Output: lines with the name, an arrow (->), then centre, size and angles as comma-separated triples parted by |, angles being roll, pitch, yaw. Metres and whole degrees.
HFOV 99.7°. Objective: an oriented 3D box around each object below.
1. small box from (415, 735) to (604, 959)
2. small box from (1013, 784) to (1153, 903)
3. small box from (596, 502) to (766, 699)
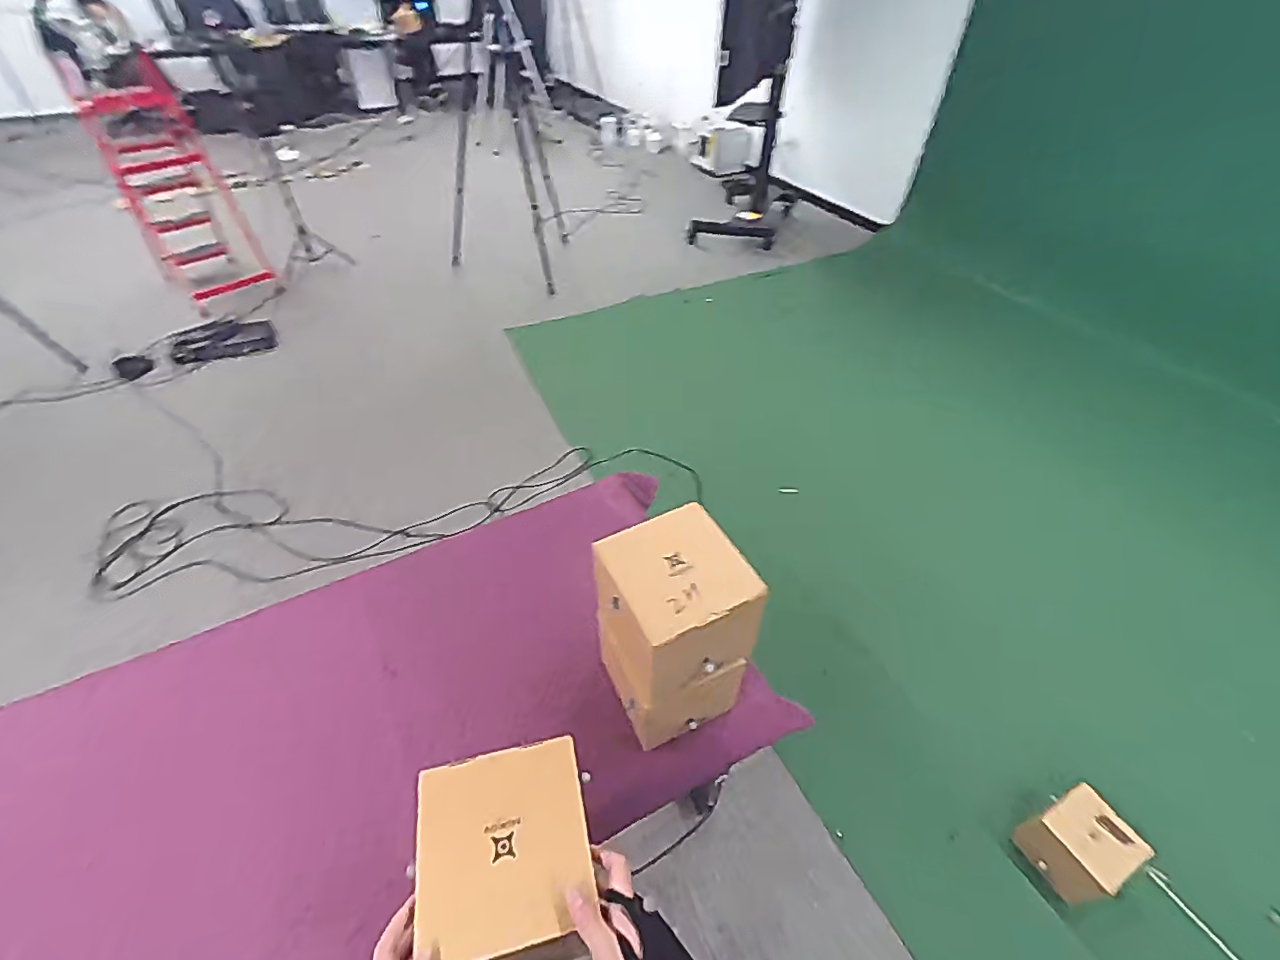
small box -> -0.134, 0.414, 0.585 | 0.168, 0.176, 0.179 | -8, 43, -12
small box -> 1.064, 0.886, 1.317 | 0.179, 0.176, 0.168 | -21, 49, -19
small box -> 0.048, 0.167, 0.756 | 0.168, 0.176, 0.179 | -21, 49, -18
